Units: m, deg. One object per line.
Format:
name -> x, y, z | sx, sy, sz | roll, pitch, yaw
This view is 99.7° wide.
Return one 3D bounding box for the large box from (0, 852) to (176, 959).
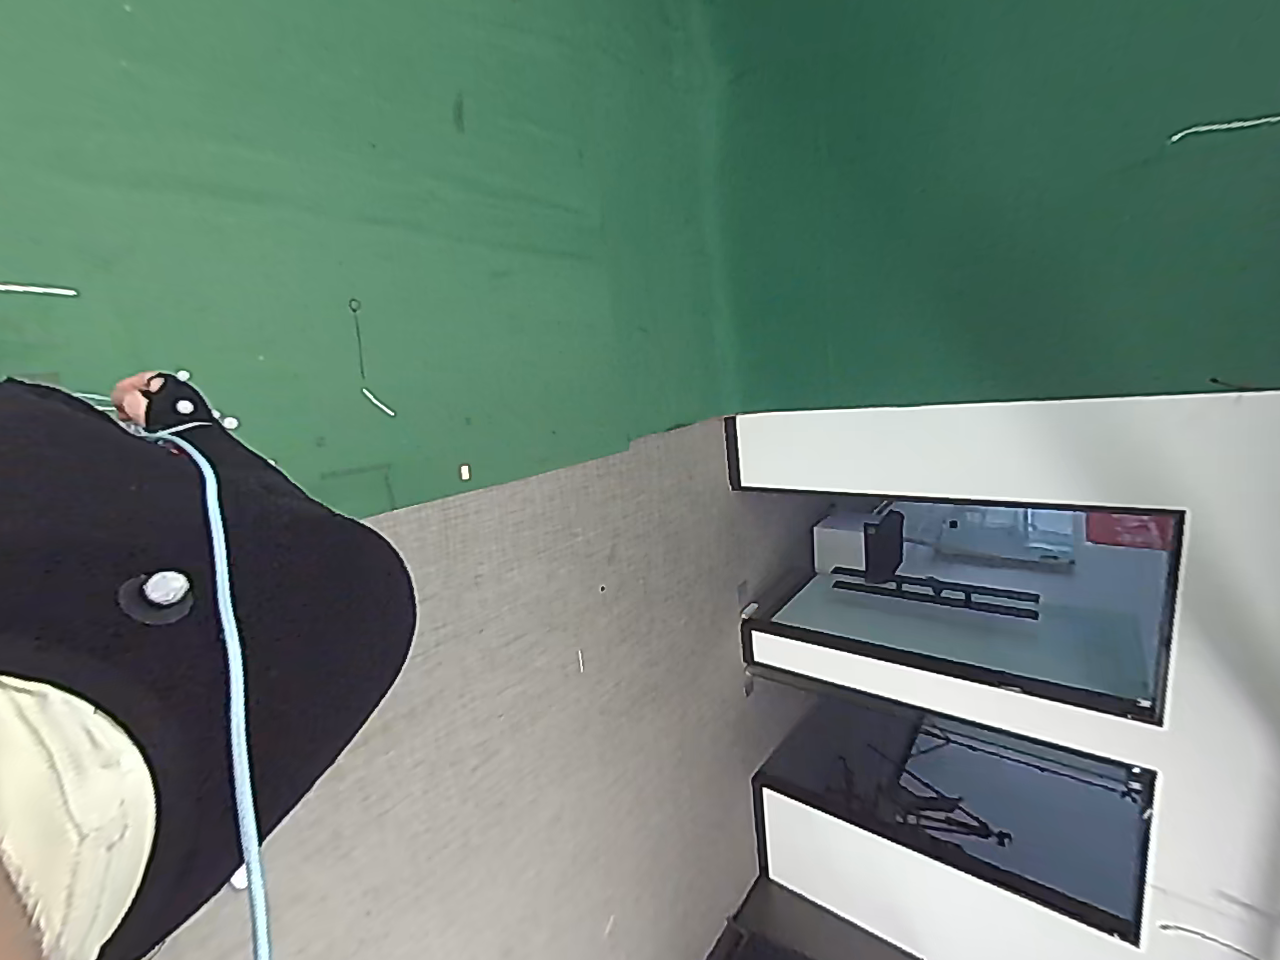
large box -> -1.189, 1.065, 1.058 | 0.408, 0.320, 0.320 | -23, 110, -49
